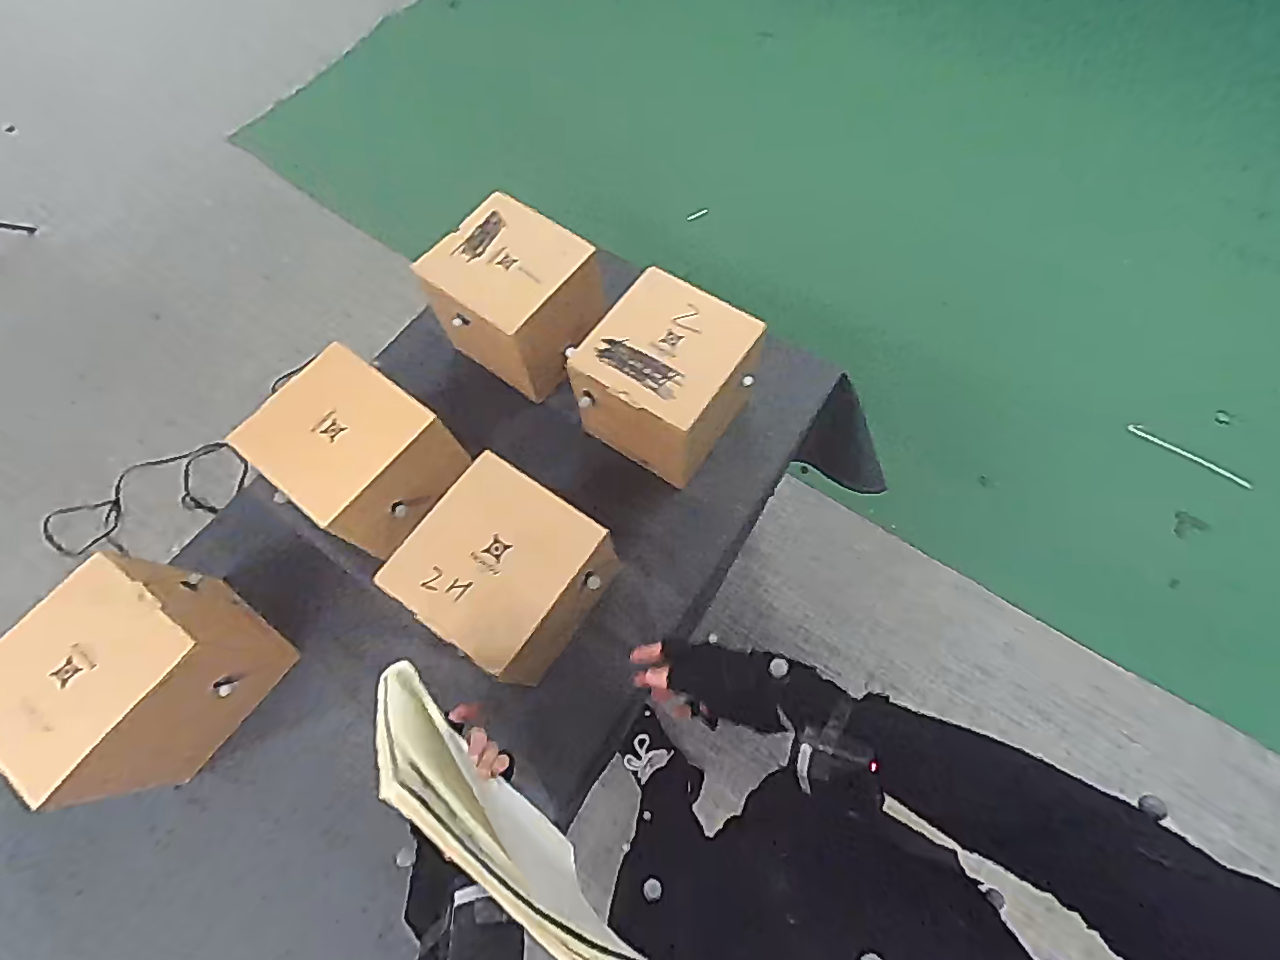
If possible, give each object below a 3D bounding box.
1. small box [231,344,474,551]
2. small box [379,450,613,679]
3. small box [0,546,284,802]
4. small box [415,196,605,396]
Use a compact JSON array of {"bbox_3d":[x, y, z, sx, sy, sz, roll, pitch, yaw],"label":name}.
[{"bbox_3d":[-0.340,-0.028,0.679,0.179,0.176,0.168,35,73,15],"label":"small box"},{"bbox_3d":[-0.143,0.103,0.614,0.168,0.176,0.179,32,73,15],"label":"small box"},{"bbox_3d":[-0.535,0.205,0.588,0.168,0.176,0.179,34,72,15],"label":"small box"},{"bbox_3d":[-0.168,-0.248,0.759,0.179,0.176,0.168,35,74,14],"label":"small box"}]
